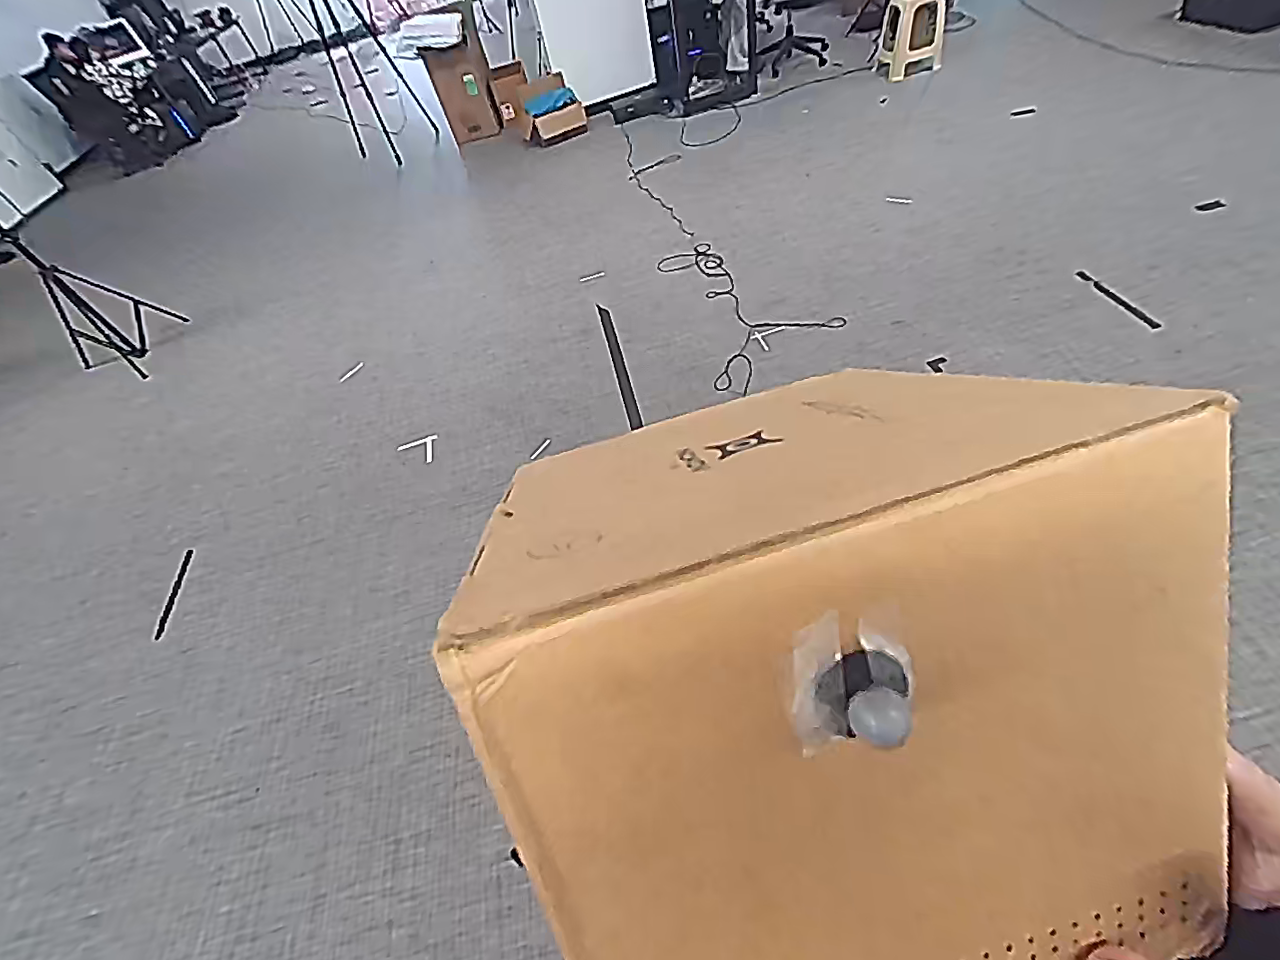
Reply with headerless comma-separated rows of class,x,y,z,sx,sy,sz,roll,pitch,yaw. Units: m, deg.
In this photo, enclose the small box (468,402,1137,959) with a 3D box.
small box,0.056,0.078,0.225,0.179,0.176,0.168,-17,15,-2
